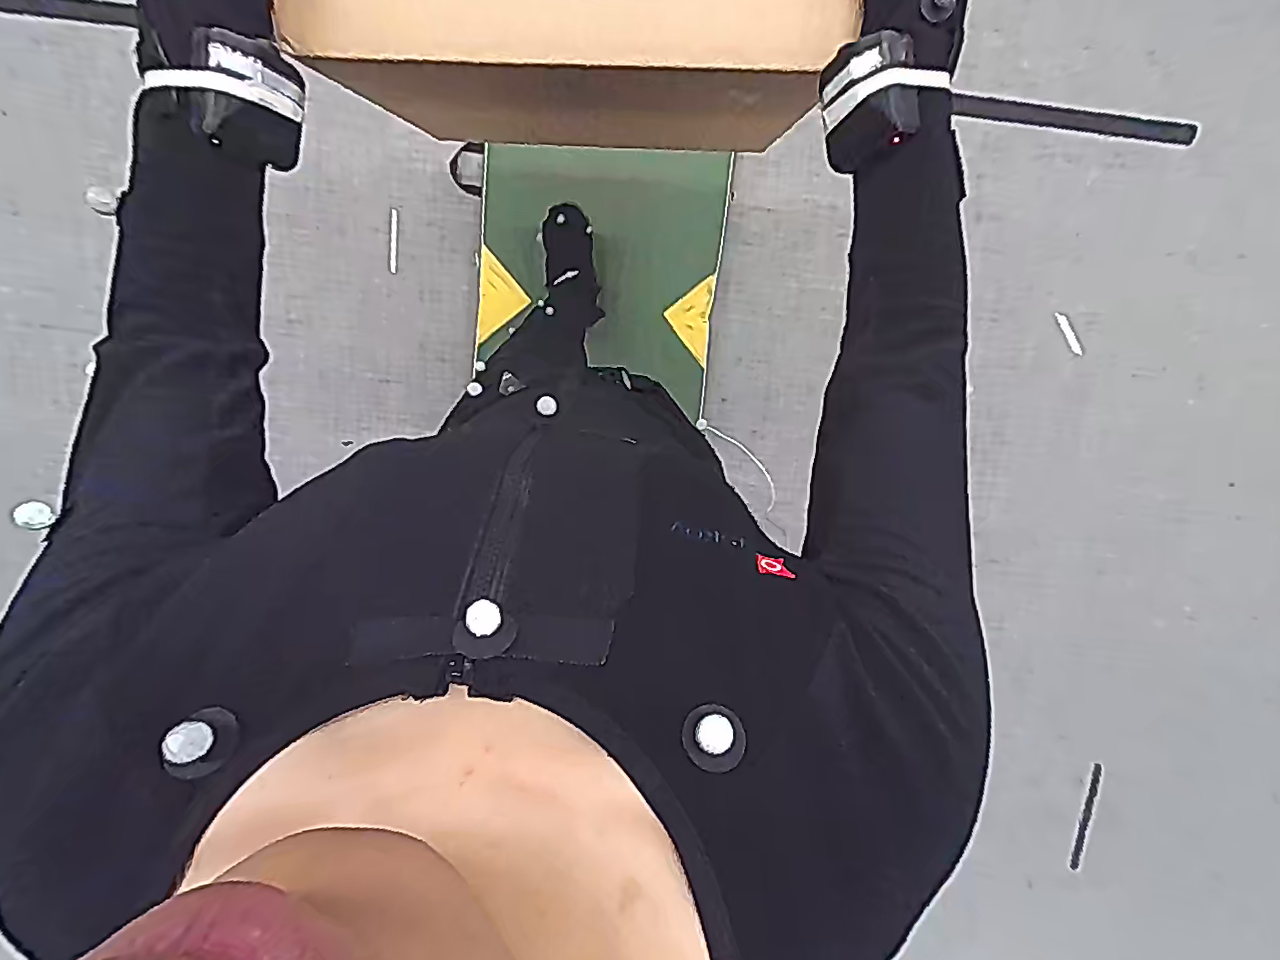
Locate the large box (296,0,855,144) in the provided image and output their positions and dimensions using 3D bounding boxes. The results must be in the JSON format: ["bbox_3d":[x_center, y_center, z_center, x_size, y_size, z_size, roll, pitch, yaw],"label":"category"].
[{"bbox_3d":[-0.048,-0.506,0.477,0.408,0.320,0.320,1,112,-1],"label":"large box"}]
